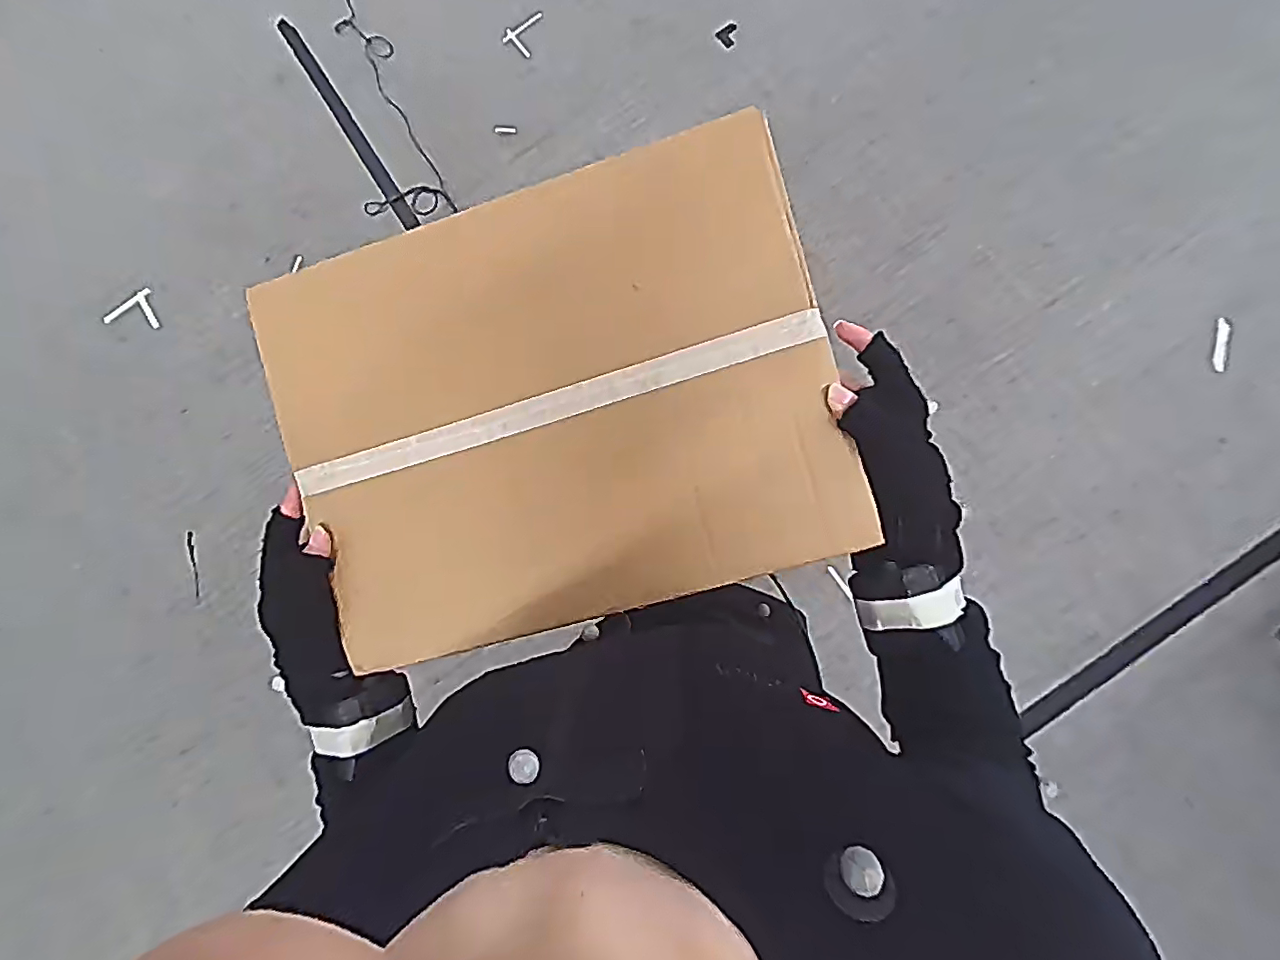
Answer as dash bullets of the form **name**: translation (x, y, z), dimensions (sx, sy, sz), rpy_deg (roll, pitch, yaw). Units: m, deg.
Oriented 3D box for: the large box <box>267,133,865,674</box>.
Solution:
- **large box**: translation (-0.050, -0.052, 0.553), dimensions (0.408, 0.320, 0.320), rpy_deg (-16, 89, 7)
